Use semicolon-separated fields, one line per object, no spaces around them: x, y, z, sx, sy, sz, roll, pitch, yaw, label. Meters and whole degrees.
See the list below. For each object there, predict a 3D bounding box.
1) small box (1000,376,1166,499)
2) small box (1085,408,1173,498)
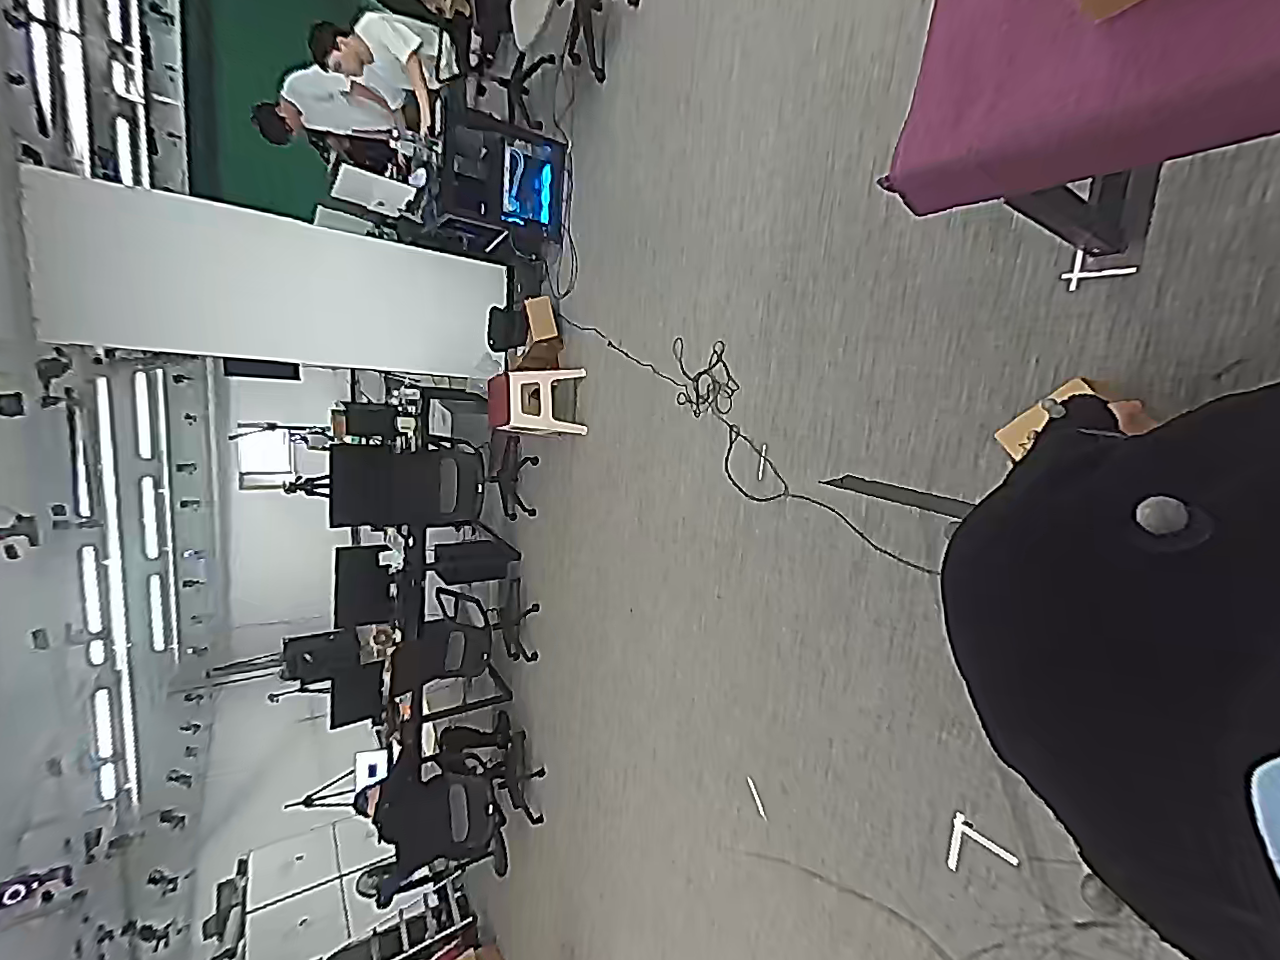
0.862;-0.080;1.050;0.179;0.176;0.168;-51;51;43;small box
0.984;-0.079;1.163;0.168;0.176;0.179;48;129;42;small box
